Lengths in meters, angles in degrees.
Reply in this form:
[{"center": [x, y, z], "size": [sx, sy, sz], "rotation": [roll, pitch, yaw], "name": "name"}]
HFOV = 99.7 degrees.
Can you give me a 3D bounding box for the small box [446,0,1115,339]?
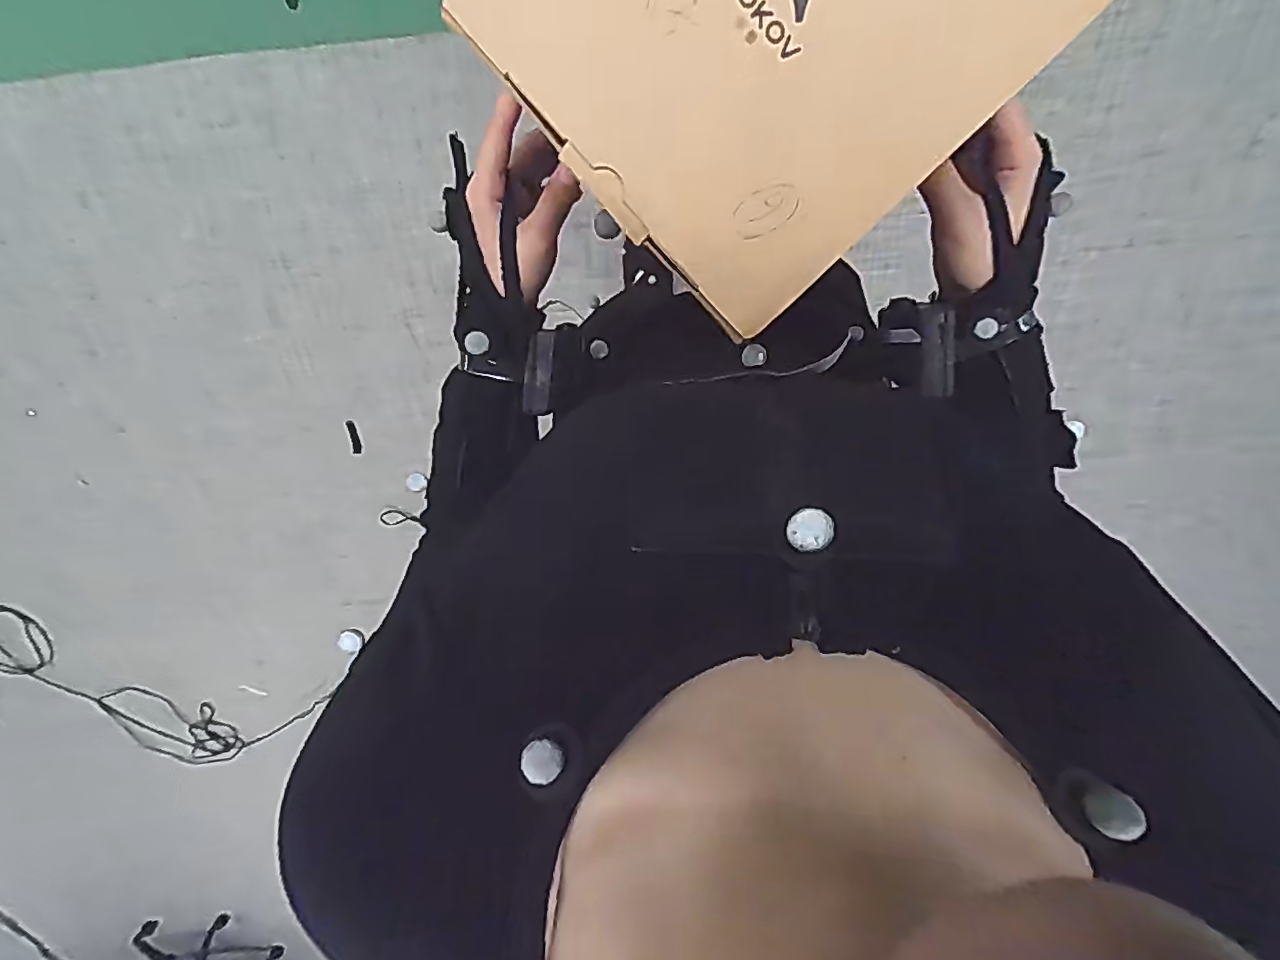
[{"center": [0.051, -0.196, 0.260], "size": [0.179, 0.176, 0.168], "rotation": [-42, 104, 18], "name": "small box"}]
